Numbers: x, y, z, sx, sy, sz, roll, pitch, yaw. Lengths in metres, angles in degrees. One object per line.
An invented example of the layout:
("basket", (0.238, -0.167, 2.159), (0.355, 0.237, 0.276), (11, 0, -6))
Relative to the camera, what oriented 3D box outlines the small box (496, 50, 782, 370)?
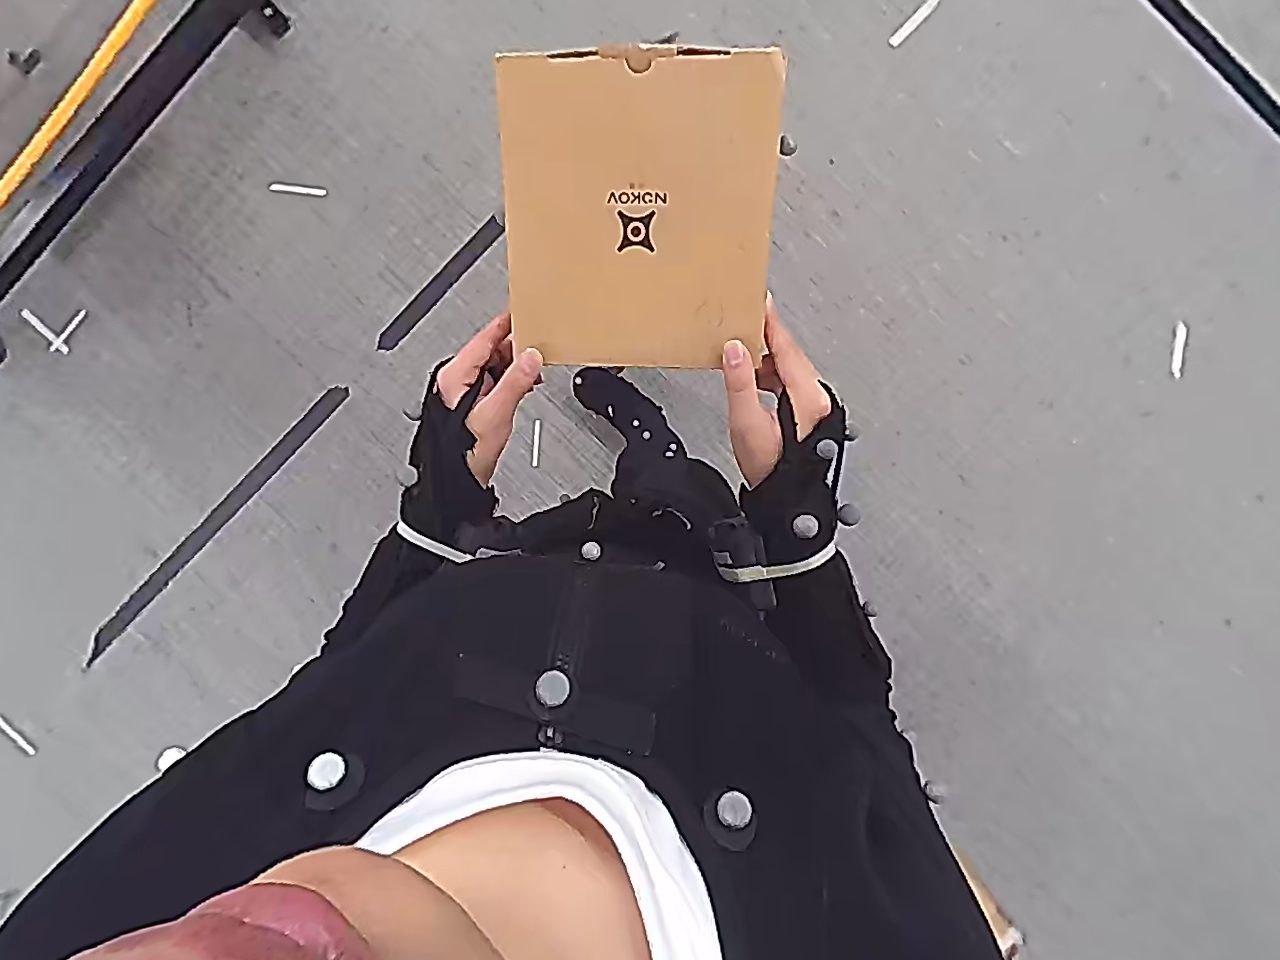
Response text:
("small box", (0.005, -0.183, 0.406), (0.168, 0.176, 0.179), (1, 109, 5))
